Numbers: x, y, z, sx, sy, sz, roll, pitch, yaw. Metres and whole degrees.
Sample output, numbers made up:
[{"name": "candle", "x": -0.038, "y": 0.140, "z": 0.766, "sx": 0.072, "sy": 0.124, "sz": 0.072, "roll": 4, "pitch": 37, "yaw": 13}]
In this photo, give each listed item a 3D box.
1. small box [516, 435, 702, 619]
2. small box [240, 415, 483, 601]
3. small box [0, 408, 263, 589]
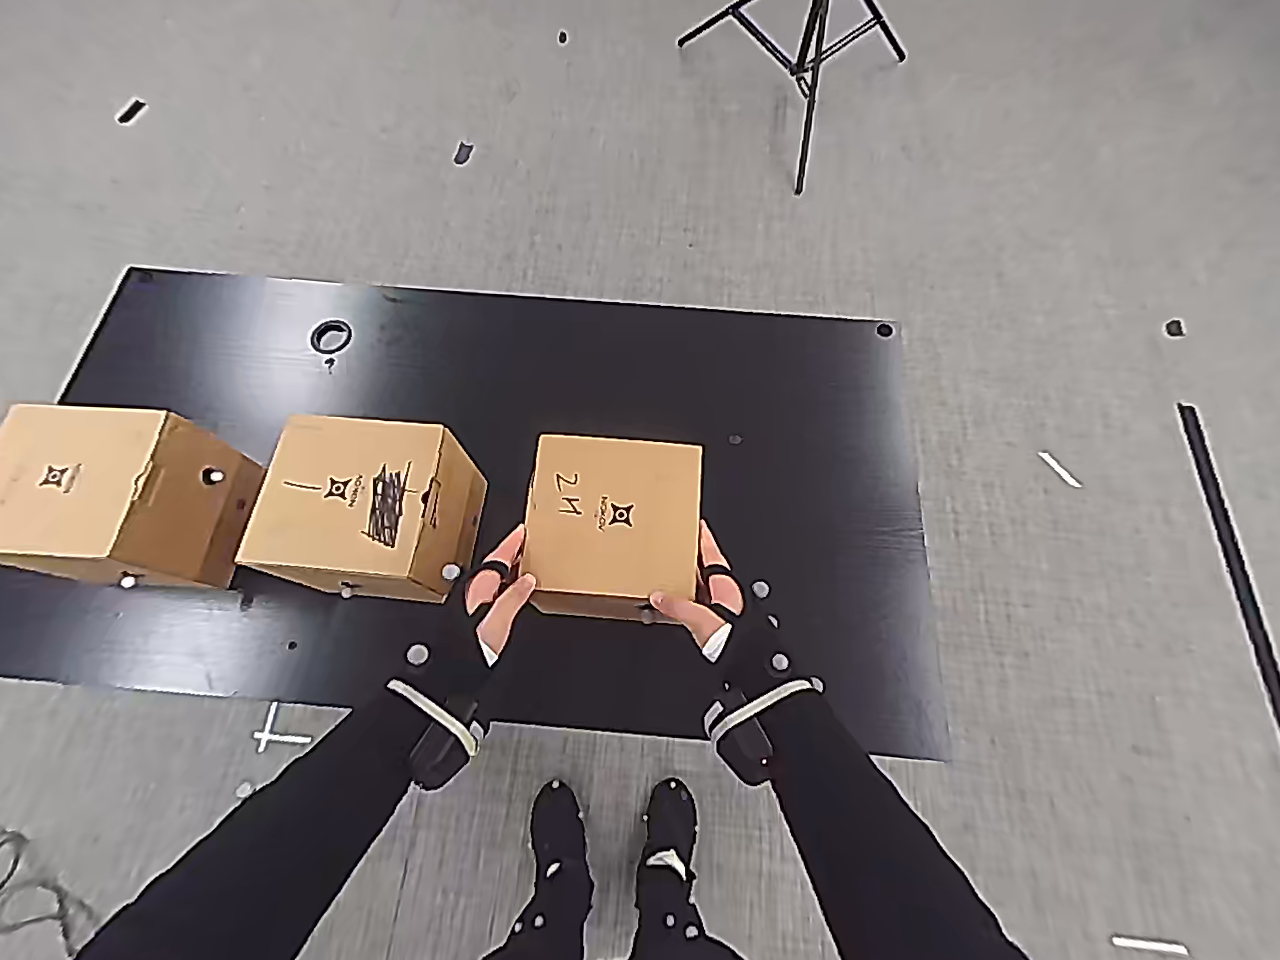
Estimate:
[{"name": "small box", "x": -0.027, "y": 0.063, "z": 0.621, "sx": 0.179, "sy": 0.176, "sz": 0.168, "roll": 4, "pitch": 68, "yaw": 2}, {"name": "small box", "x": -0.299, "y": 0.042, "z": 0.628, "sx": 0.179, "sy": 0.176, "sz": 0.168, "roll": 5, "pitch": 69, "yaw": 3}, {"name": "small box", "x": -0.594, "y": 0.030, "z": 0.634, "sx": 0.179, "sy": 0.176, "sz": 0.168, "roll": 2, "pitch": 68, "yaw": 1}]
